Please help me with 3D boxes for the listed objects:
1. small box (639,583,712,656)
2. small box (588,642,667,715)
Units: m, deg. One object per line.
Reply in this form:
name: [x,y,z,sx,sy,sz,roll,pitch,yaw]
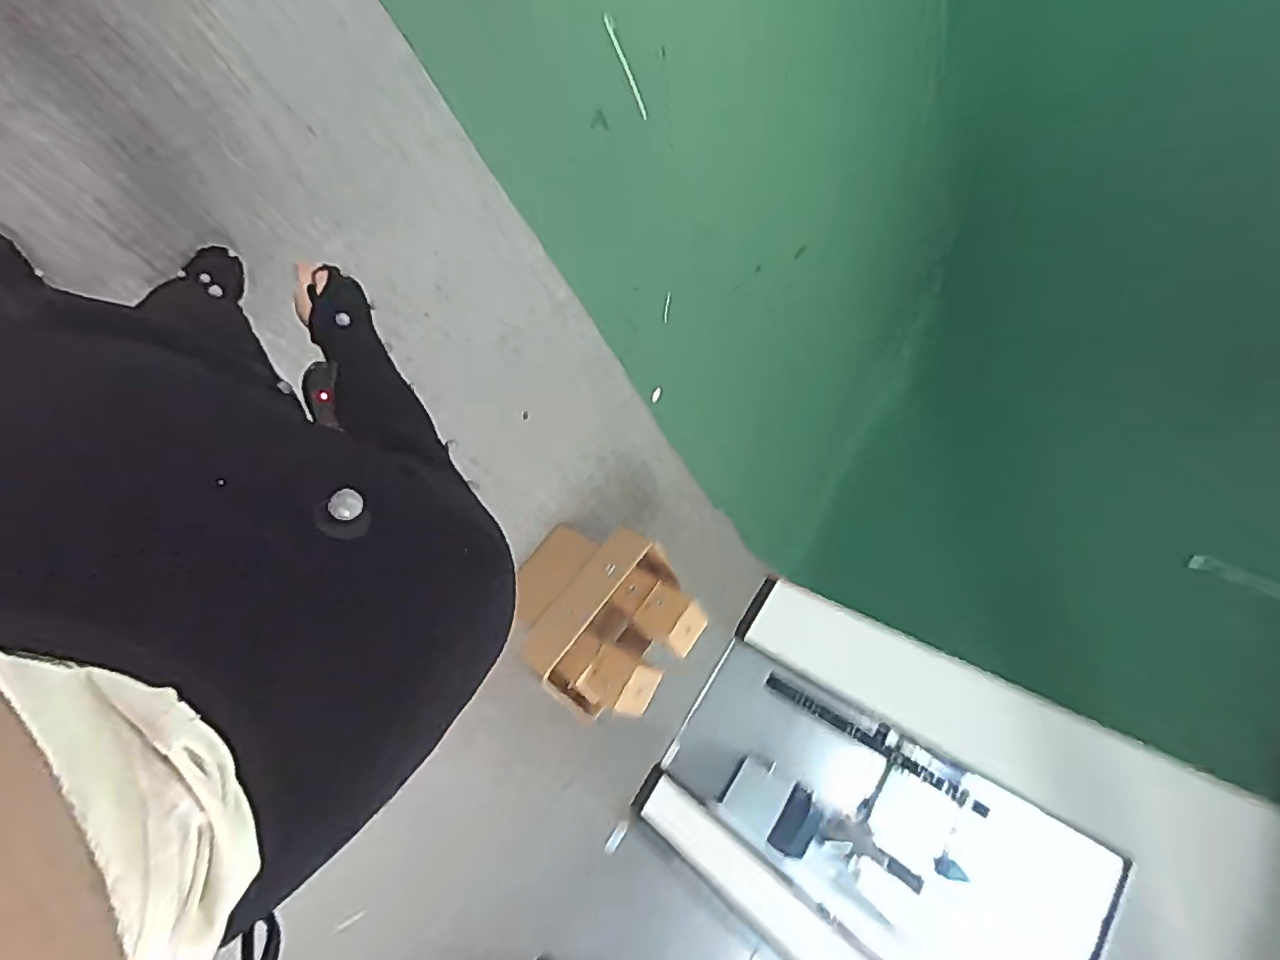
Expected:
small box: [0.127,0.497,1.950,0.168,0.176,0.179,-51,137,-17]
small box: [-0.045,0.673,1.843,0.179,0.176,0.168,36,80,-49]
